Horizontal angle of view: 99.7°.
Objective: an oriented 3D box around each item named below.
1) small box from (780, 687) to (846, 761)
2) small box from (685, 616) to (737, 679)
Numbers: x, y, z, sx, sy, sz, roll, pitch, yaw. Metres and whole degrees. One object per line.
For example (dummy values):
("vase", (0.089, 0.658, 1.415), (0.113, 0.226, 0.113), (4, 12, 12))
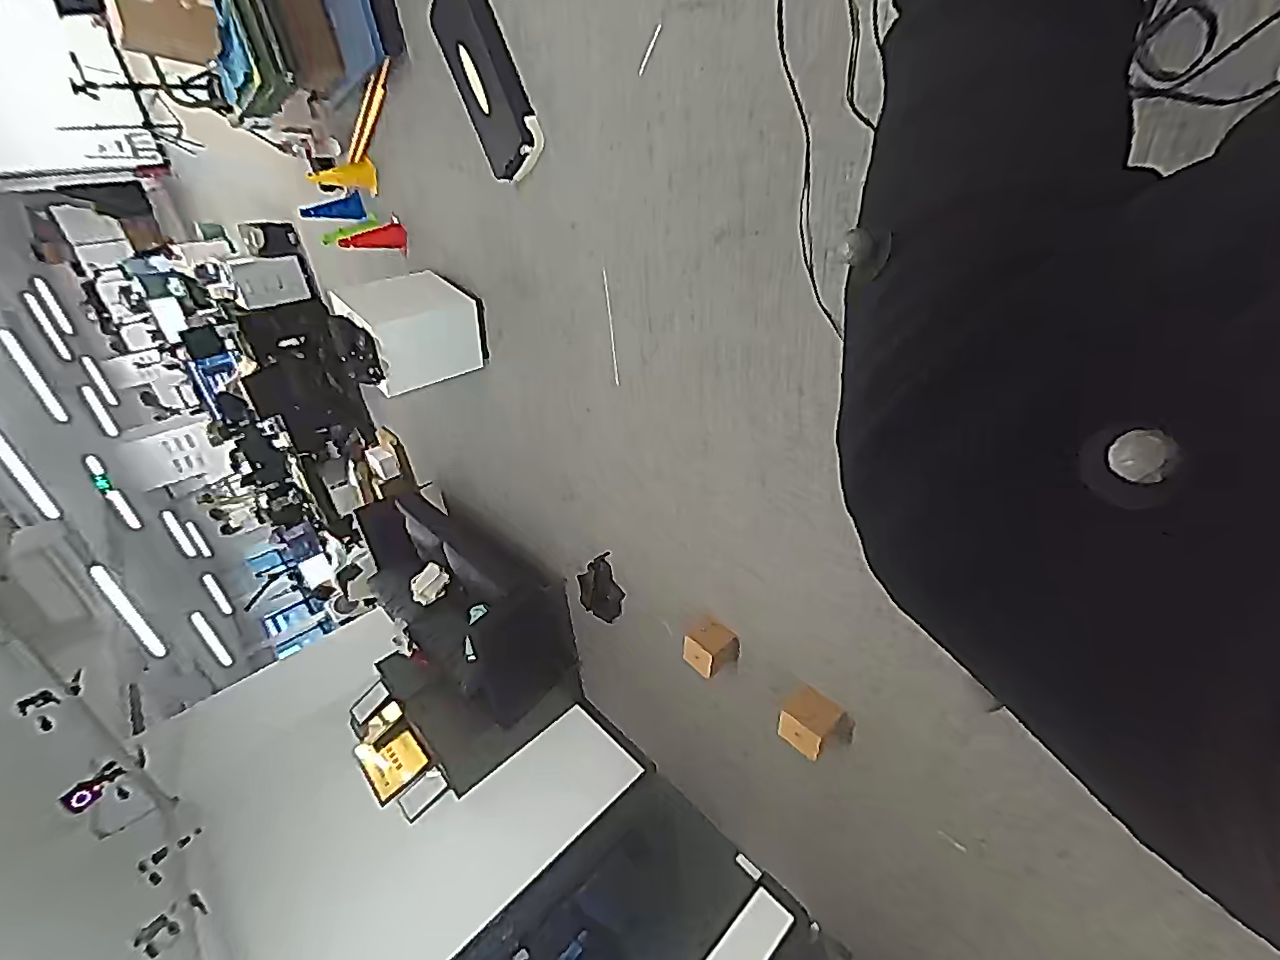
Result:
("small box", (0.682, 0.955, 2.139), (0.179, 0.176, 0.168), (28, 134, 39))
("small box", (0.326, 0.759, 2.470), (0.168, 0.176, 0.179), (33, 138, 38))
